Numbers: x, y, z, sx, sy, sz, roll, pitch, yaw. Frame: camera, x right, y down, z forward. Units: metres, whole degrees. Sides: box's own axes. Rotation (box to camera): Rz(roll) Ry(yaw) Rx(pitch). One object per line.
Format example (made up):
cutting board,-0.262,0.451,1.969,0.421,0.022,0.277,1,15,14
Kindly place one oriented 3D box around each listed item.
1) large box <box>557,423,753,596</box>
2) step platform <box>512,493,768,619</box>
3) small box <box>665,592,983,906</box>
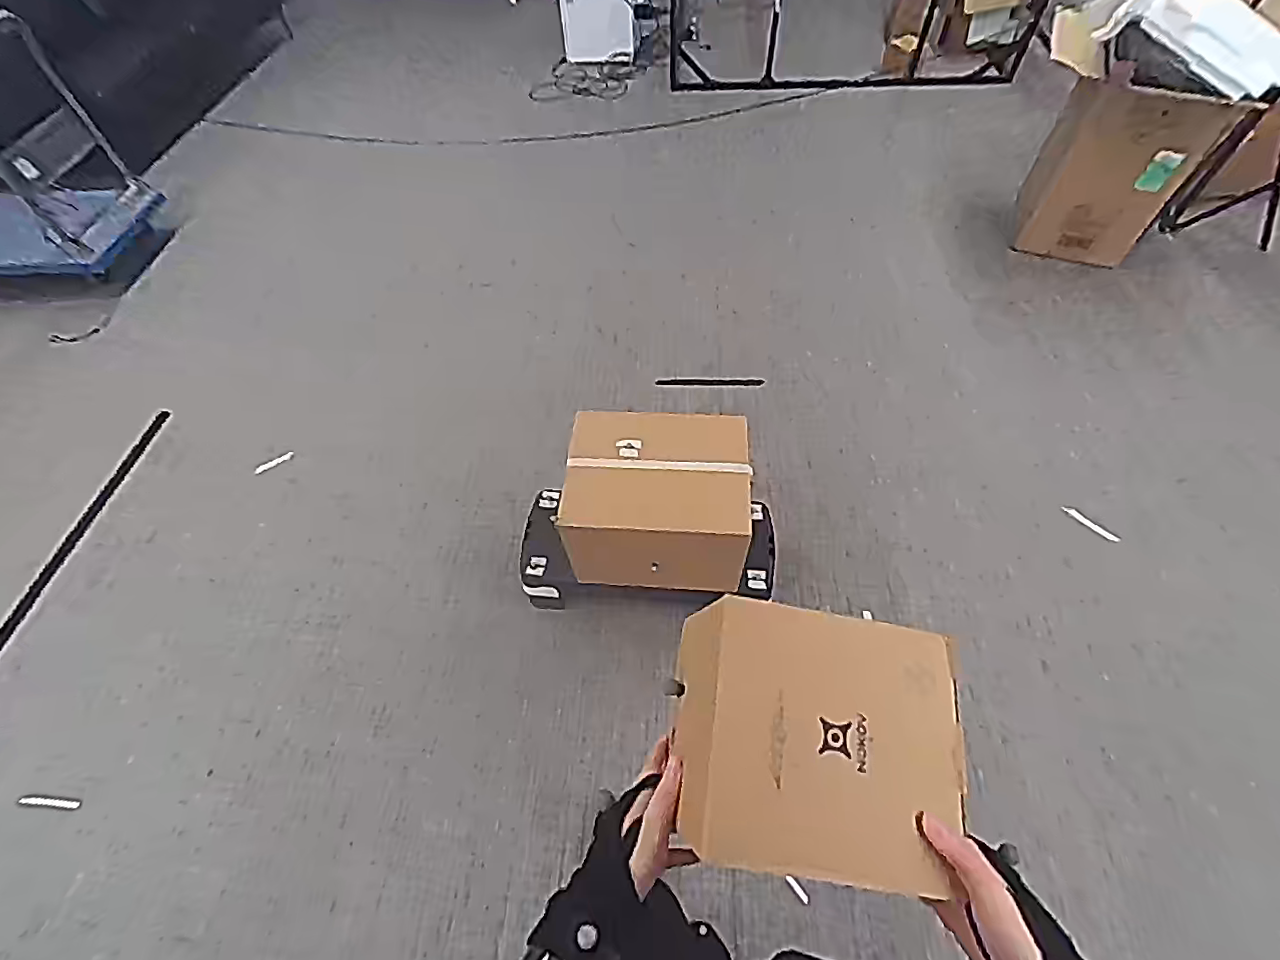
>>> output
large box,0.047,0.078,1.296,0.408,0.320,0.320,1,55,5
step platform,0.004,0.226,1.487,0.684,0.204,0.286,6,56,8
small box,0.128,0.199,0.429,0.179,0.176,0.168,12,66,-3
